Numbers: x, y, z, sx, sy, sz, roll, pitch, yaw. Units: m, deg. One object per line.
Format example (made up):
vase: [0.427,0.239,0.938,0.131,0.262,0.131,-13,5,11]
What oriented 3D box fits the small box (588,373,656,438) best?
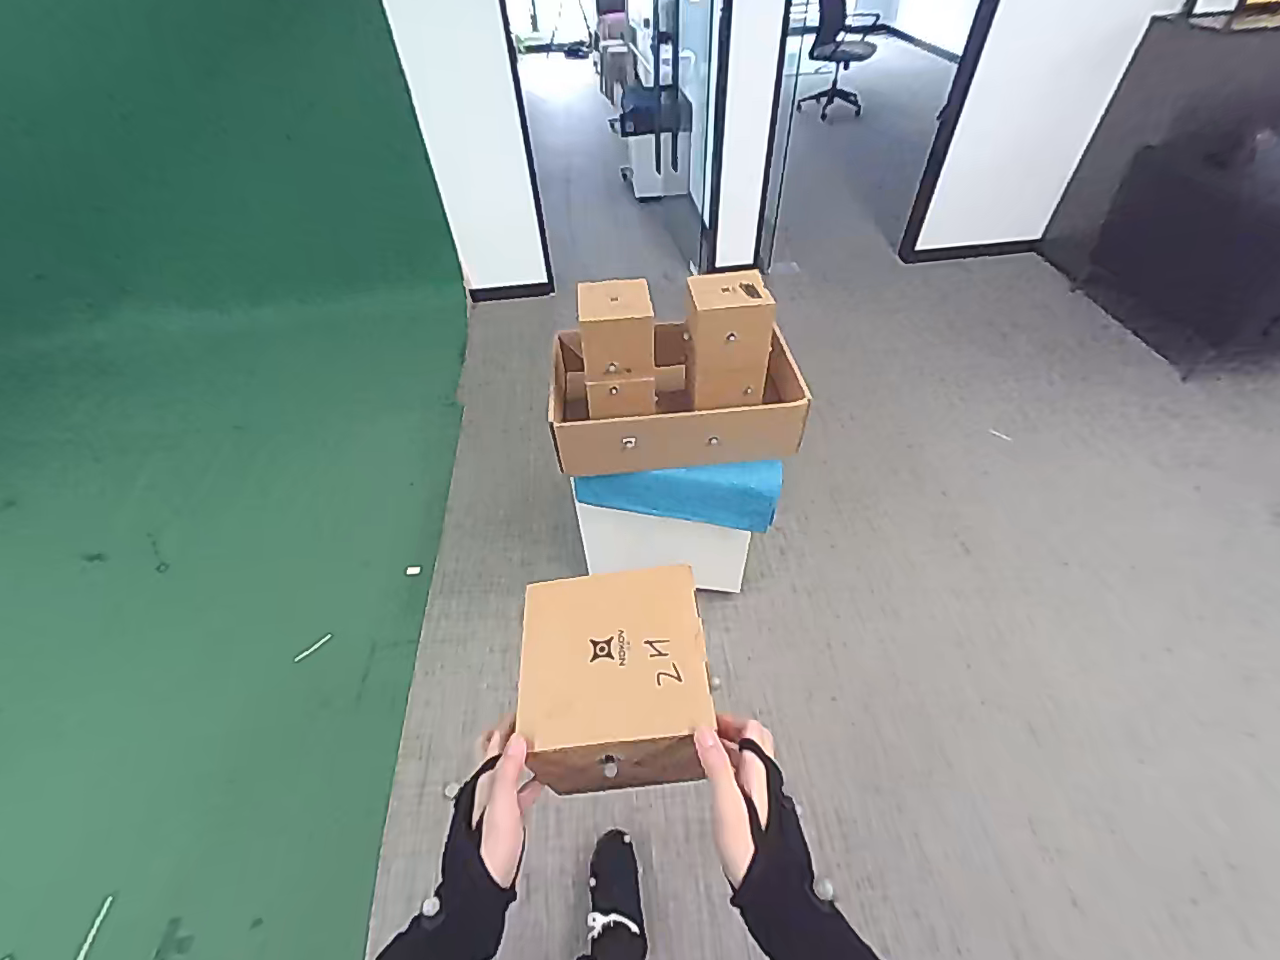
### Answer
small box: [-0.047,-0.230,1.398,0.168,0.176,0.179,-5,45,-2]

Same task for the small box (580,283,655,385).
small box: [-0.054,-0.347,1.285,0.168,0.176,0.179,-5,46,-2]

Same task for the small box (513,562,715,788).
small box: [-0.018,0.208,0.567,0.179,0.176,0.168,-7,48,1]

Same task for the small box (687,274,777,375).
small box: [0.210,-0.368,1.288,0.179,0.176,0.168,-6,46,-1]
